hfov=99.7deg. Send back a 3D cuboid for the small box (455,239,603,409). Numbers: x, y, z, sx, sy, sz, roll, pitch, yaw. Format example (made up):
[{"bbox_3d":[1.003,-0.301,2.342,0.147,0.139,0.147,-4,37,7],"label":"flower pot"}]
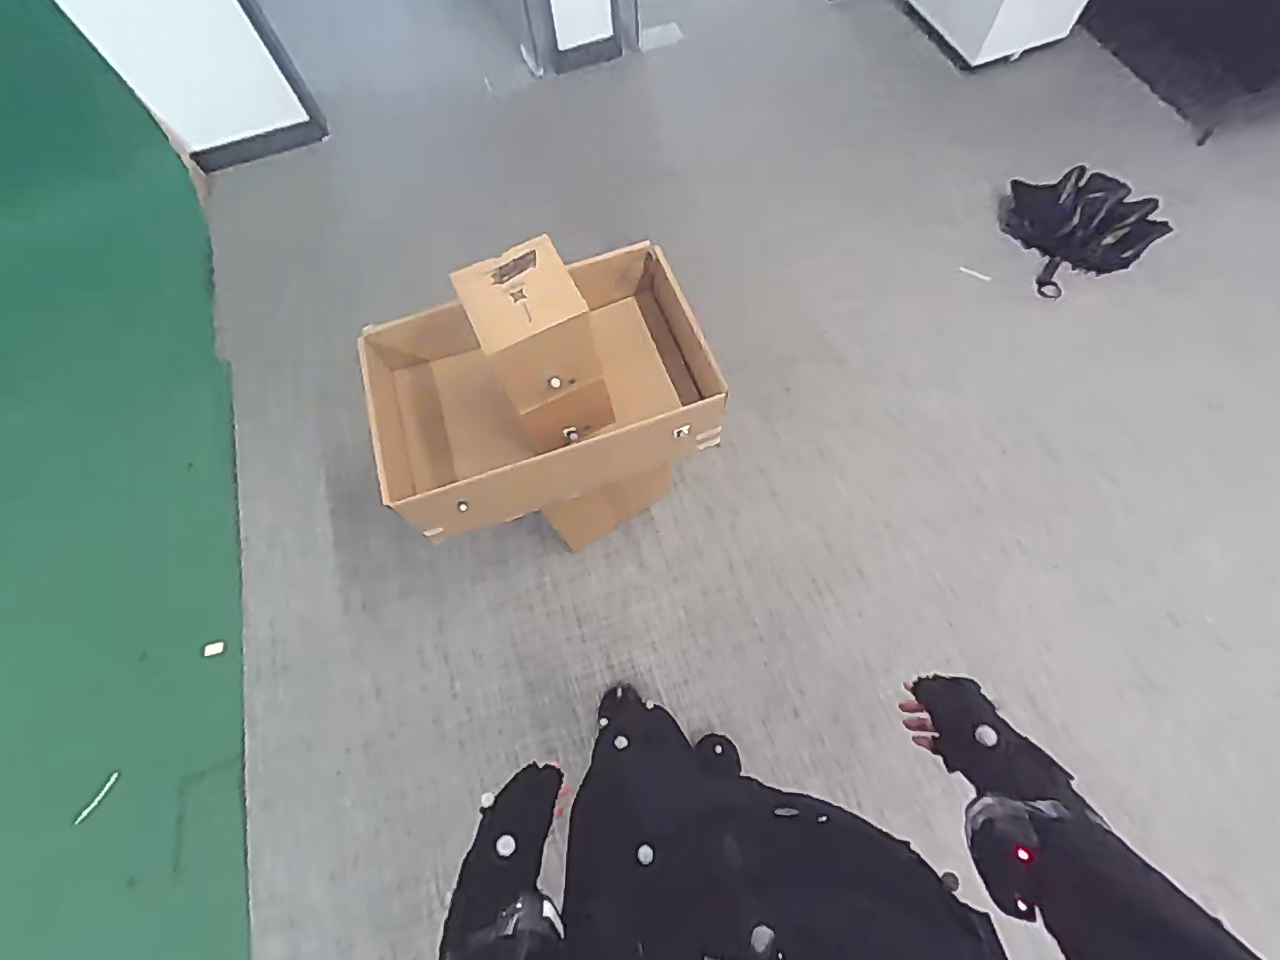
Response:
[{"bbox_3d":[-0.175,-0.249,0.891,0.168,0.176,0.179,-26,68,-5],"label":"small box"}]

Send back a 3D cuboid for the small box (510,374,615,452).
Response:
[{"bbox_3d":[-0.162,-0.184,1.040,0.168,0.176,0.179,-26,68,-5],"label":"small box"}]
